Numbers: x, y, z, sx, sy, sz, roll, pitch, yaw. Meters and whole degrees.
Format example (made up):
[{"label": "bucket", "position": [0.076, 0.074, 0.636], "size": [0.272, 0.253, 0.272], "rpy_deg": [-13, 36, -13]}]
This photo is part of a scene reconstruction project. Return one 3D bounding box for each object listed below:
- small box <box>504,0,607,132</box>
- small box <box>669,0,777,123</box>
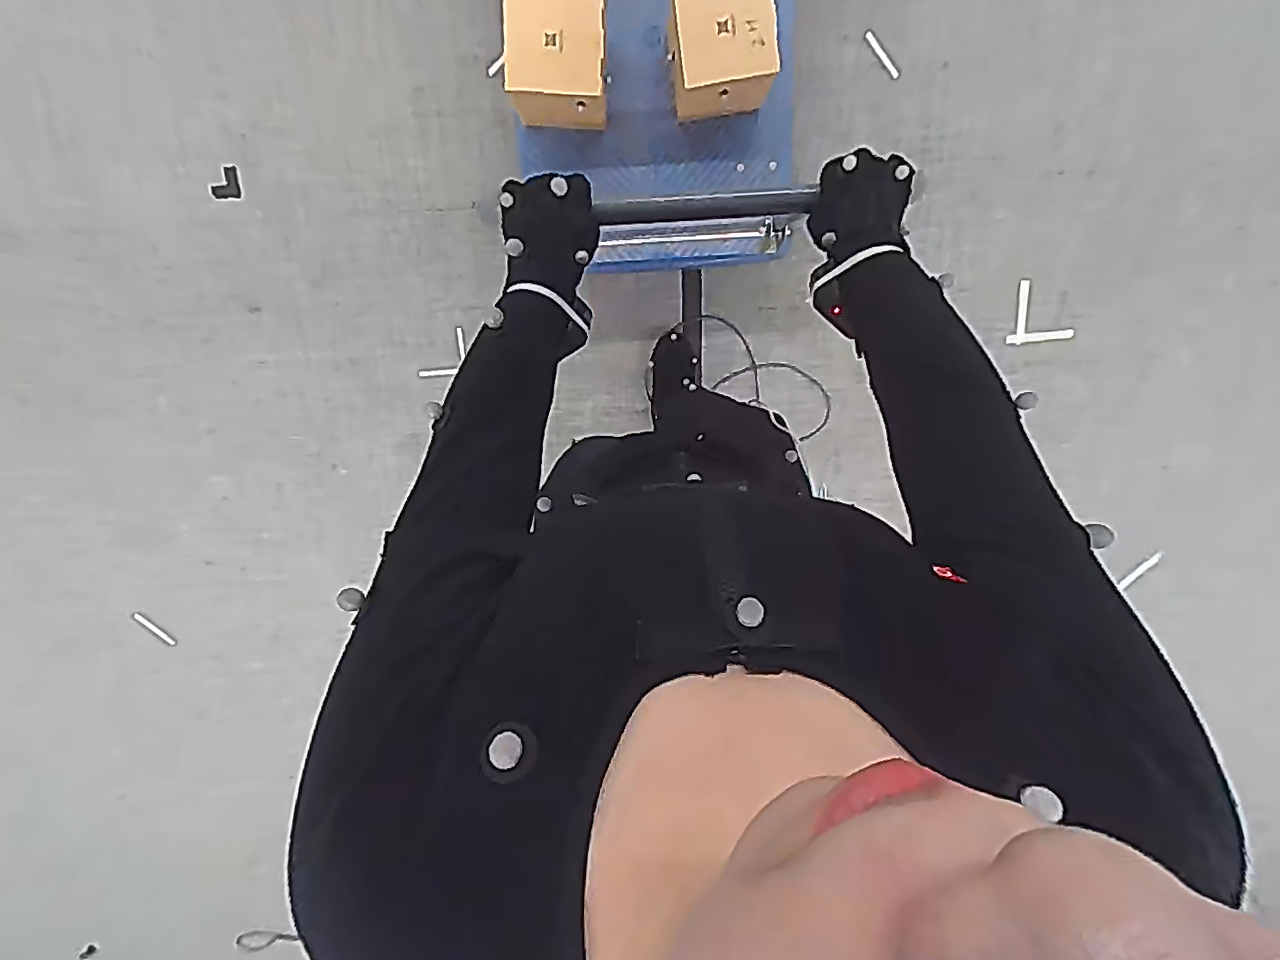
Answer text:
[{"label": "small box", "position": [-0.155, -0.790, 1.035], "size": [0.179, 0.176, 0.168], "rpy_deg": [1, 105, -3]}, {"label": "small box", "position": [0.151, -0.811, 1.033], "size": [0.179, 0.176, 0.168], "rpy_deg": [-9, 106, 2]}]
